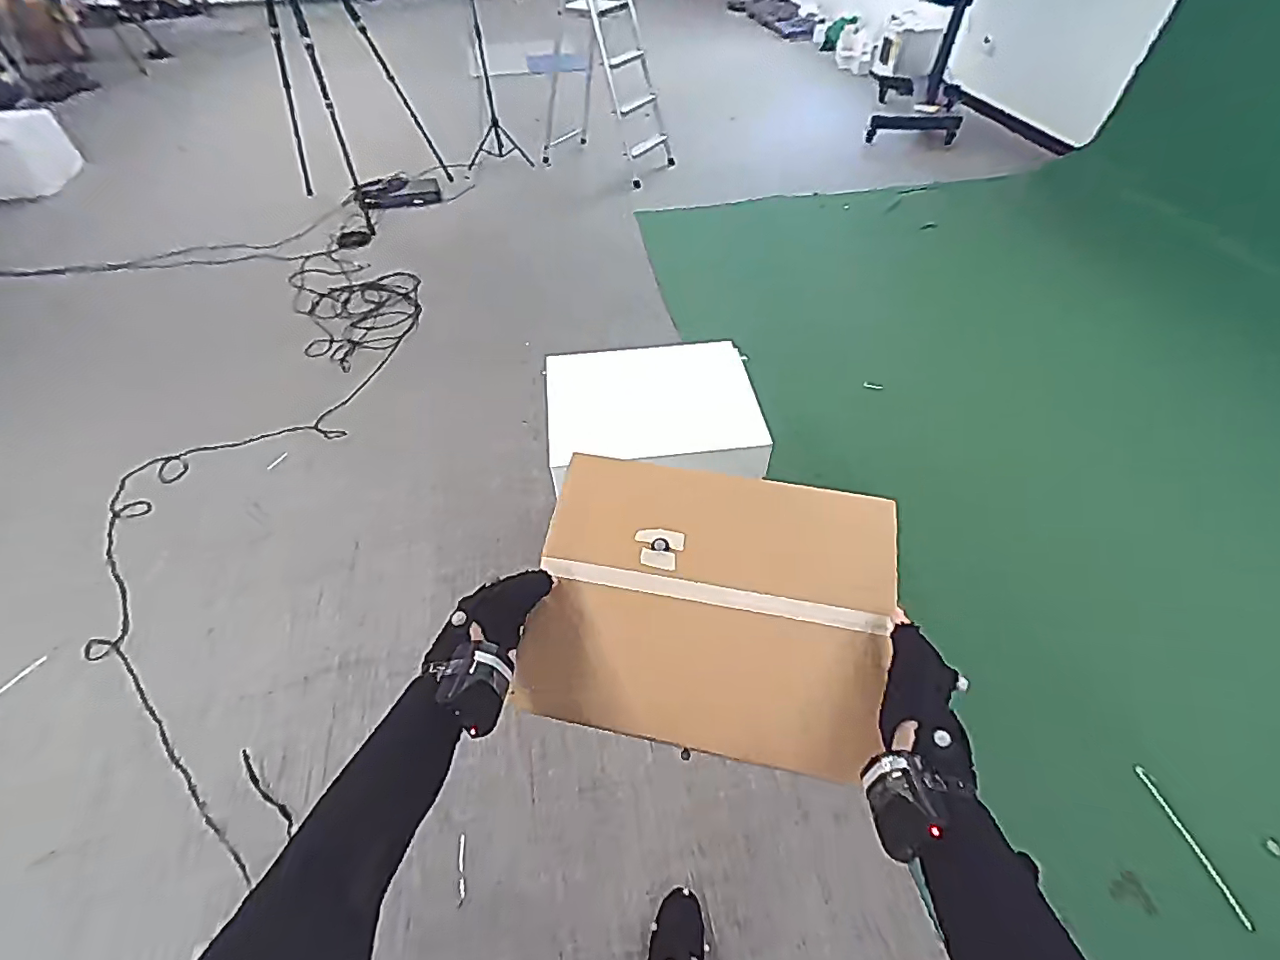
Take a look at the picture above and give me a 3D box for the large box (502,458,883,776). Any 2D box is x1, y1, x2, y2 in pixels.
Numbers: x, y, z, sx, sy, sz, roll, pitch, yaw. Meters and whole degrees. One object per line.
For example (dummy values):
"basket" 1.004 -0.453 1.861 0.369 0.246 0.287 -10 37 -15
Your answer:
"large box" 0.083 0.192 0.751 0.408 0.320 0.320 8 65 9
